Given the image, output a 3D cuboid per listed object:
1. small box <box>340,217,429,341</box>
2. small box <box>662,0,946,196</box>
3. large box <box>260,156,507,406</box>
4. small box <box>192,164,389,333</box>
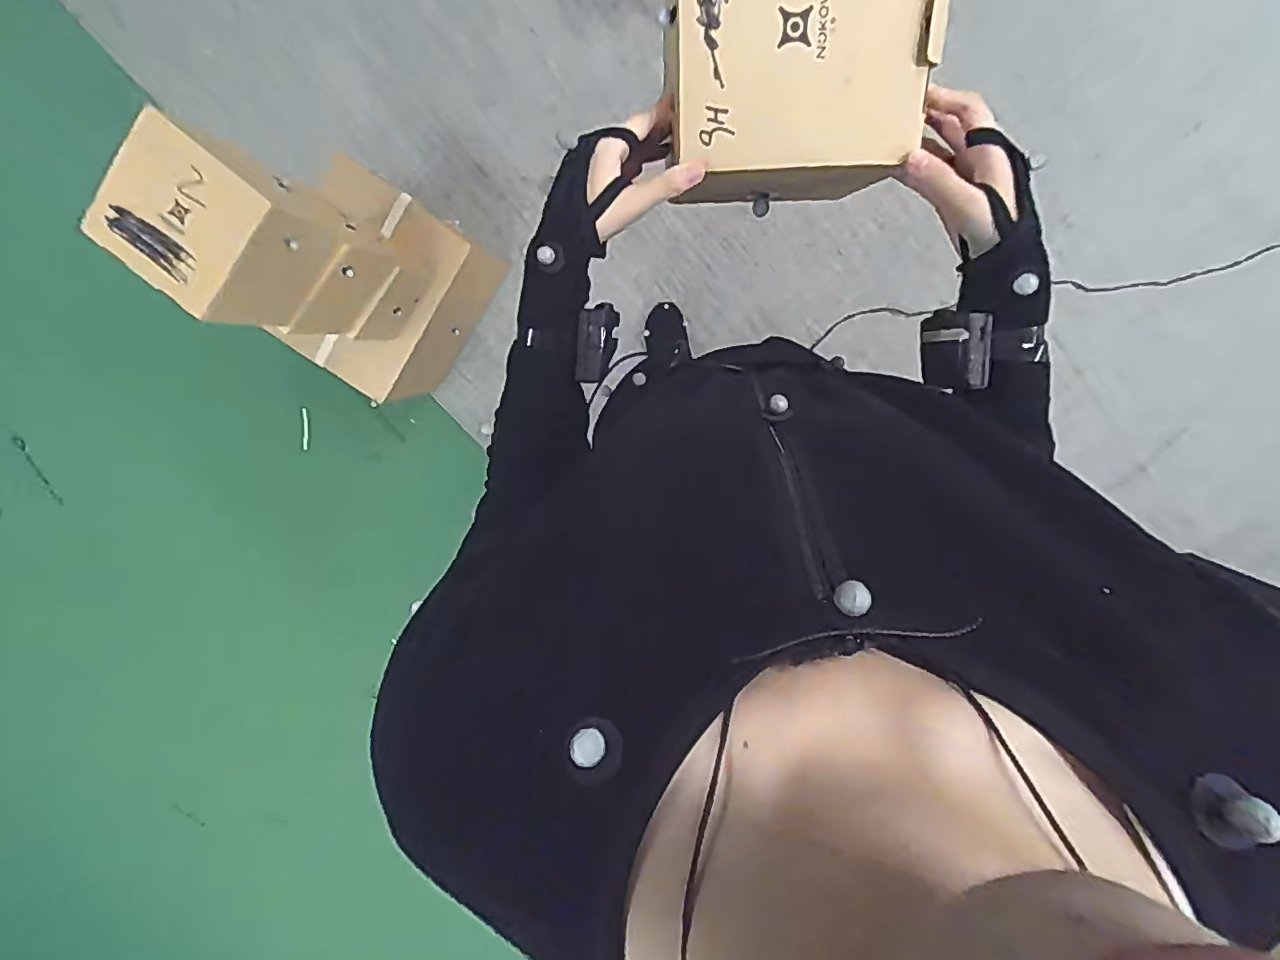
[{"bbox_3d":[-0.537,-0.384,1.026,0.179,0.176,0.168,40,101,-8],"label":"small box"},{"bbox_3d":[0.111,-0.331,0.429,0.179,0.176,0.168,-2,109,-1],"label":"small box"},{"bbox_3d":[-0.572,-0.440,1.266,0.320,0.320,0.408,34,103,-6],"label":"large box"},{"bbox_3d":[-0.543,-0.353,0.868,0.168,0.176,0.179,41,100,-9],"label":"small box"}]
